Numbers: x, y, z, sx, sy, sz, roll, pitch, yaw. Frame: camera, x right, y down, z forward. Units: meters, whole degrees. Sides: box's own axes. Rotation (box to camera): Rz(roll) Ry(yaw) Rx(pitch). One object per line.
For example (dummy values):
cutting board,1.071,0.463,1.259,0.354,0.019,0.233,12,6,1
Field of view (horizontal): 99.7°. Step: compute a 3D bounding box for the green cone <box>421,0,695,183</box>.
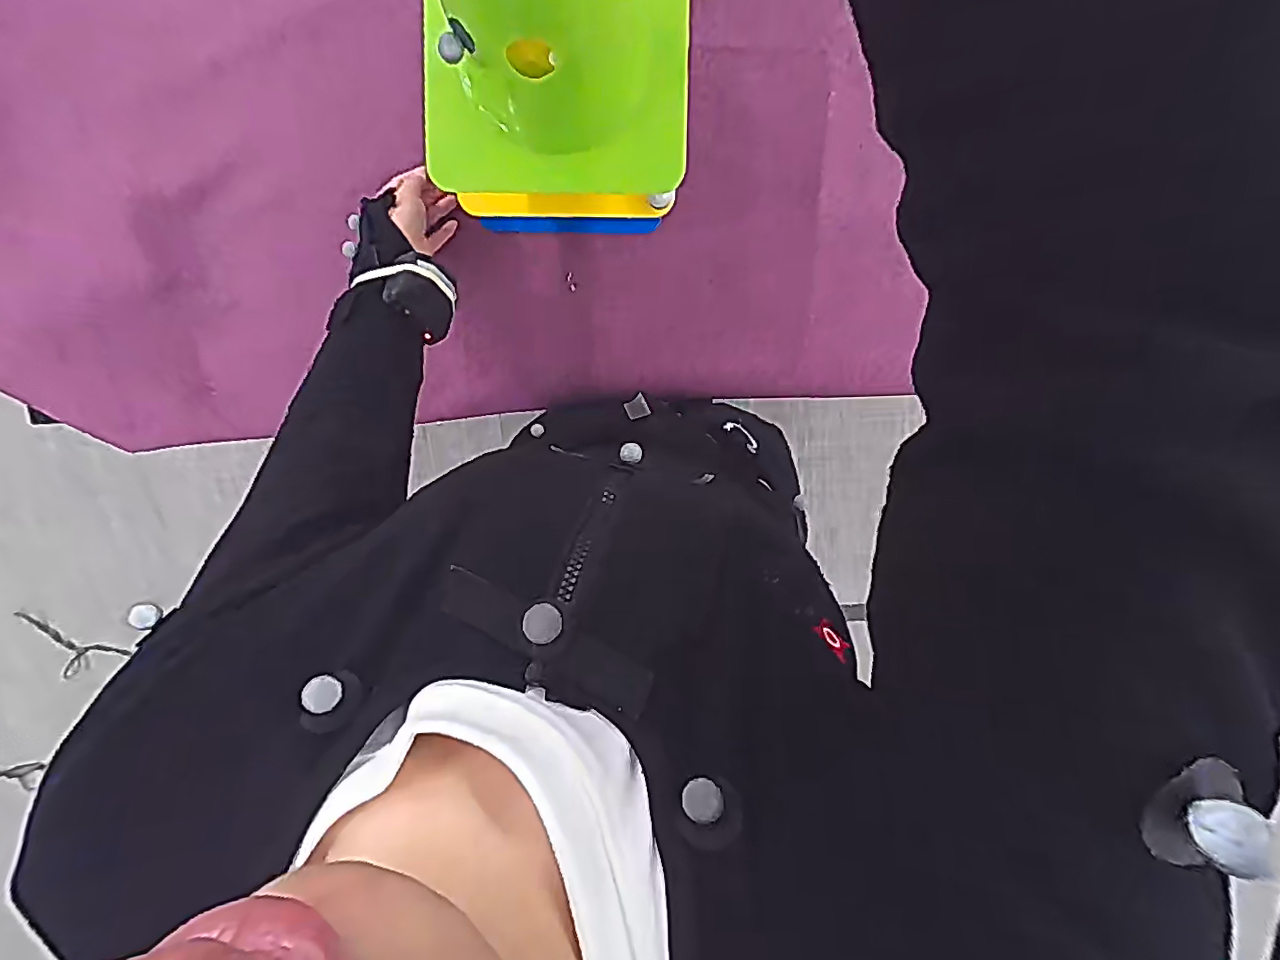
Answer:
green cone,-0.065,-0.305,0.224,0.200,0.368,0.202,1,96,2
